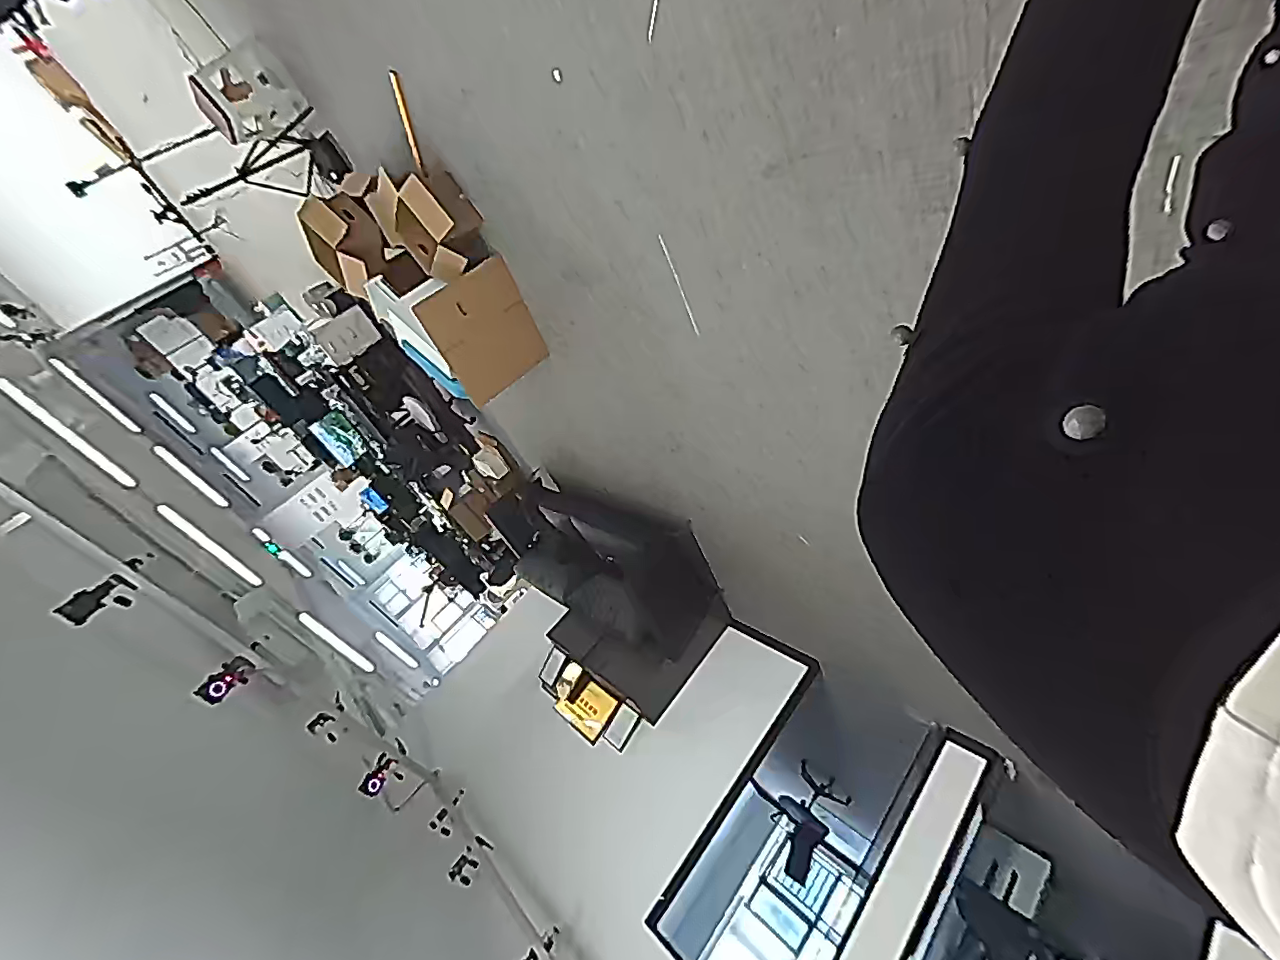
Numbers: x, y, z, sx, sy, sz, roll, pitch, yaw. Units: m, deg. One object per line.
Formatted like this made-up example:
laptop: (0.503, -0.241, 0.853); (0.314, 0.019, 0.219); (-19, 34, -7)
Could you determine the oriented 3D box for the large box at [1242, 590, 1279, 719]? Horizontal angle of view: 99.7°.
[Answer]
large box: (1.891, 0.484, 1.358); (0.320, 0.320, 0.408); (46, 155, -7)
